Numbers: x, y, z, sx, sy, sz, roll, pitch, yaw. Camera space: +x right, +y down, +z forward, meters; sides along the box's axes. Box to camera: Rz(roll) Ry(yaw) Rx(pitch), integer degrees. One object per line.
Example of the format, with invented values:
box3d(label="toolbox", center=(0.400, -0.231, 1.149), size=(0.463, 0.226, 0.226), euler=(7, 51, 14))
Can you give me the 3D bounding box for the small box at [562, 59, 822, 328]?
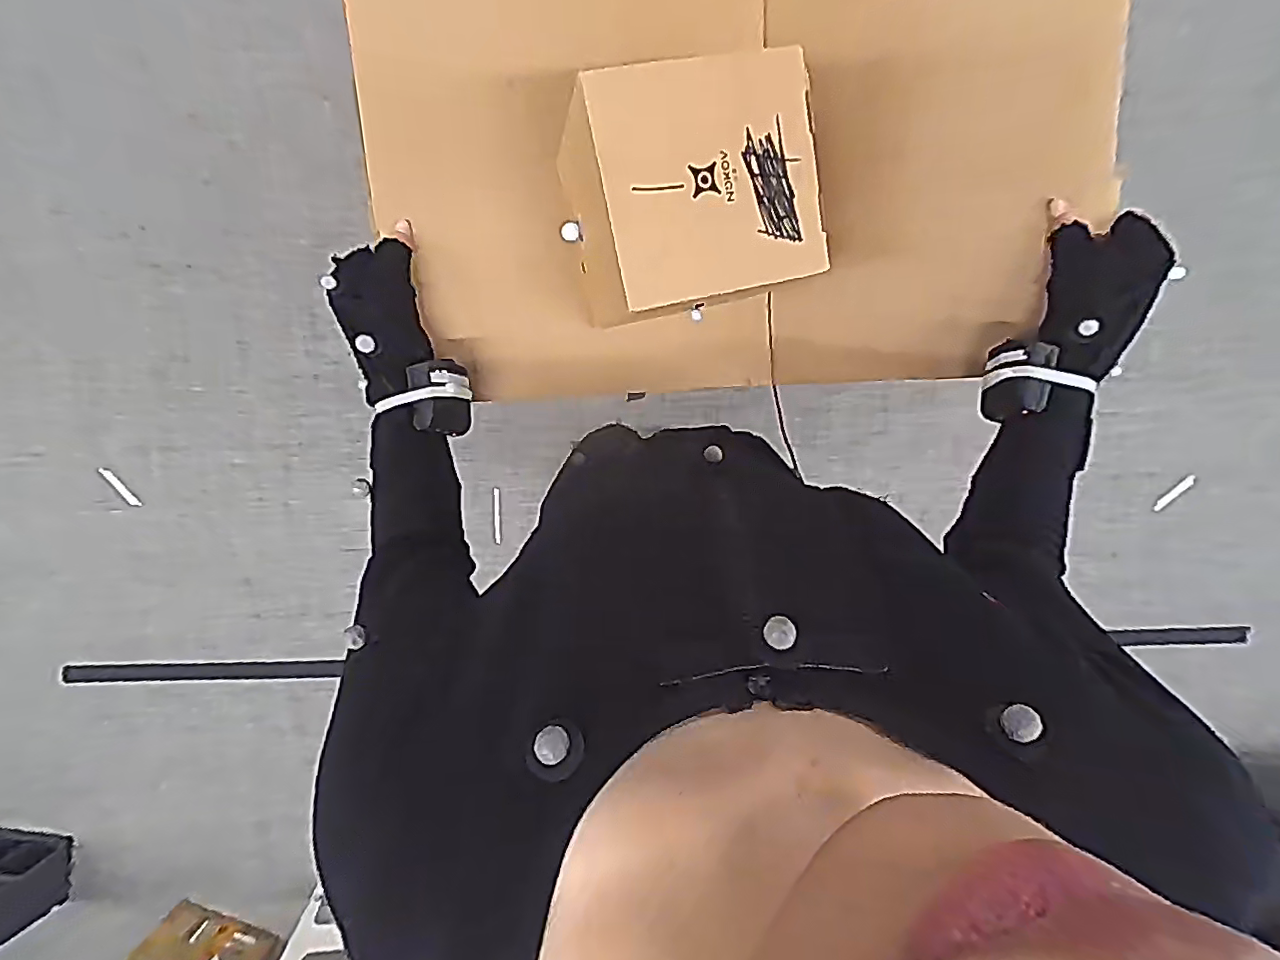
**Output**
box3d(label="small box", center=(0.037, -0.242, 0.496), size=(0.179, 0.176, 0.168), euler=(-15, 103, -11))
